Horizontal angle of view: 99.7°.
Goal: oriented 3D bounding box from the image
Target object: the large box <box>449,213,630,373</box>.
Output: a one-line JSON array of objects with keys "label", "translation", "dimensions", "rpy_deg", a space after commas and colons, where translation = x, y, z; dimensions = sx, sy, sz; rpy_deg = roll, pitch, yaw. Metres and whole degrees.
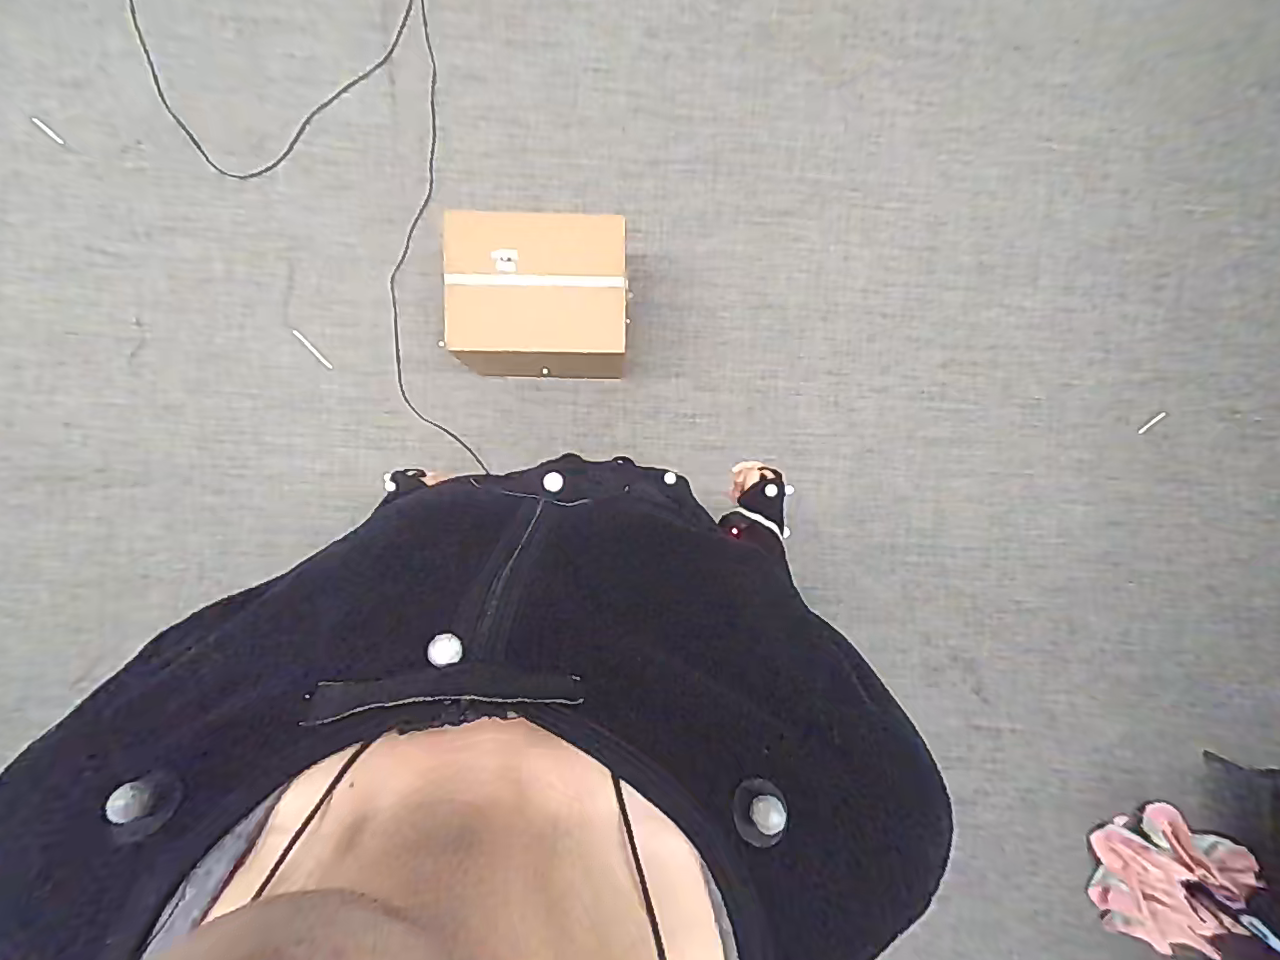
[{"label": "large box", "translation": [-0.230, -0.447, 1.359], "dimensions": [0.408, 0.320, 0.320], "rpy_deg": [0, 90, -2]}]
